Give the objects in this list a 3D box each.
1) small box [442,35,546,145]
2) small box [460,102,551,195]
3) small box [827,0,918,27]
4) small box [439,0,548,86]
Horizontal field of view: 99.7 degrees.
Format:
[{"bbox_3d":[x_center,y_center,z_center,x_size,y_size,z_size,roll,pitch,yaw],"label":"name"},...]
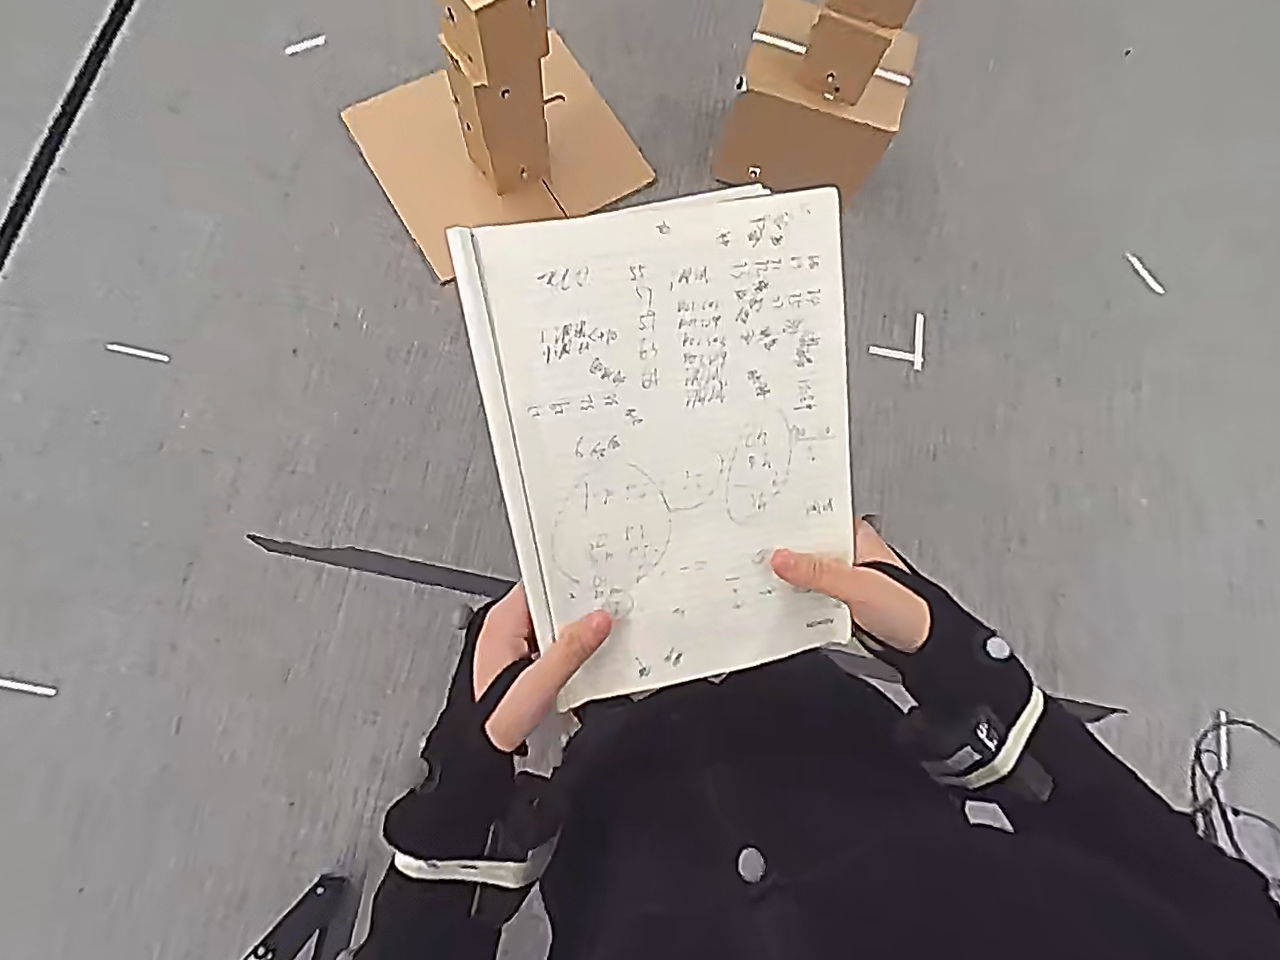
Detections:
[{"bbox_3d":[-0.342,-0.957,1.305,0.179,0.176,0.168,-31,83,-12],"label":"small box"},{"bbox_3d":[-0.357,-0.923,1.466,0.179,0.176,0.168,-33,83,-12],"label":"small box"},{"bbox_3d":[0.506,-1.072,1.091,0.179,0.176,0.168,14,76,0],"label":"small box"},{"bbox_3d":[-0.310,-0.997,1.151,0.179,0.176,0.168,-39,85,-13],"label":"small box"}]
